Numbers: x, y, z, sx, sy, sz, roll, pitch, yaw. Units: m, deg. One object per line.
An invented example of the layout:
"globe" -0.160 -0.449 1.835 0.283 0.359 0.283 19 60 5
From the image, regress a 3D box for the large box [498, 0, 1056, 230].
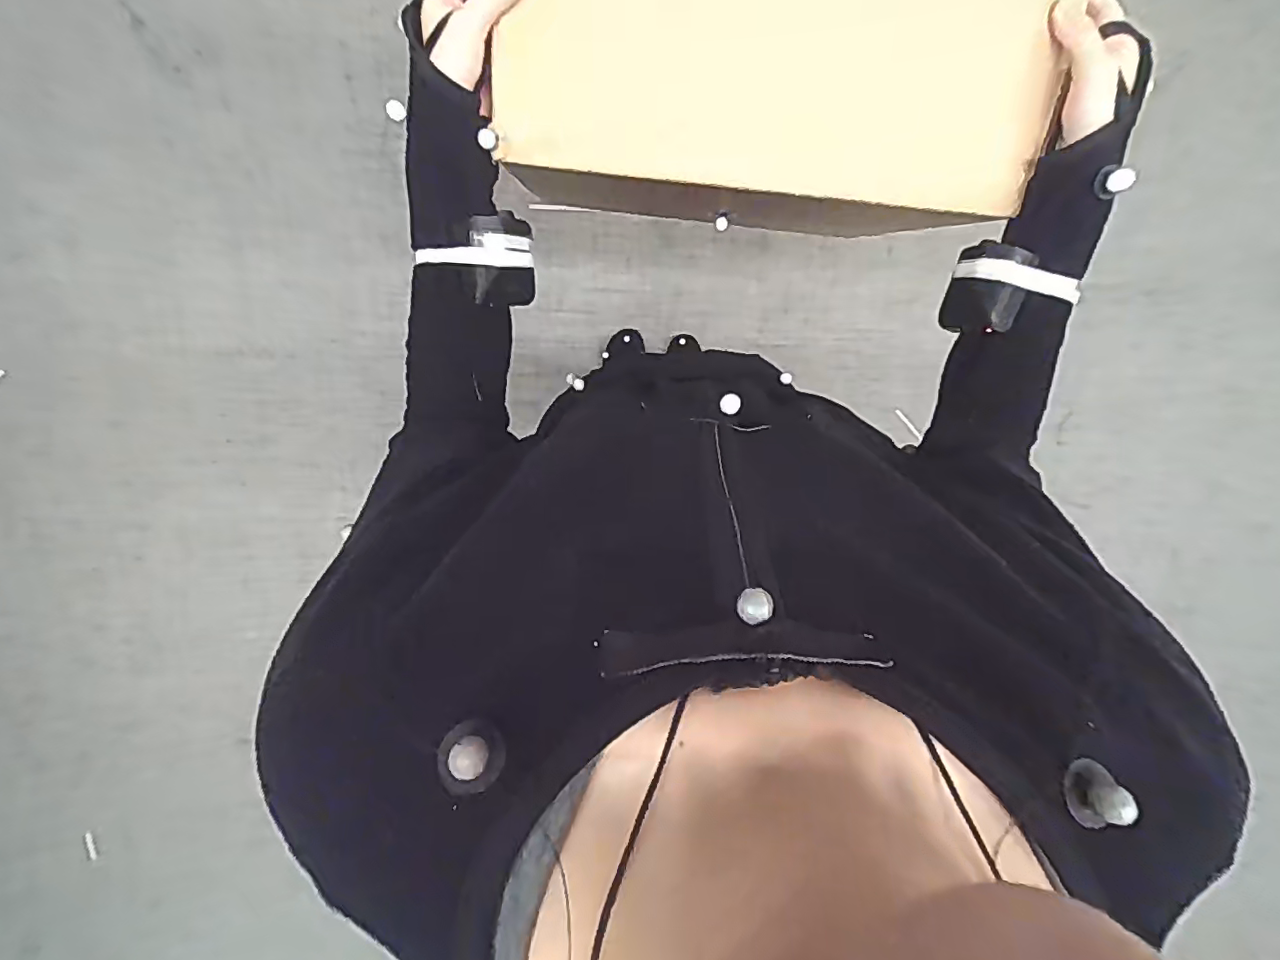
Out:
"large box" 0.099 -0.422 0.506 0.408 0.320 0.320 4 110 -4
